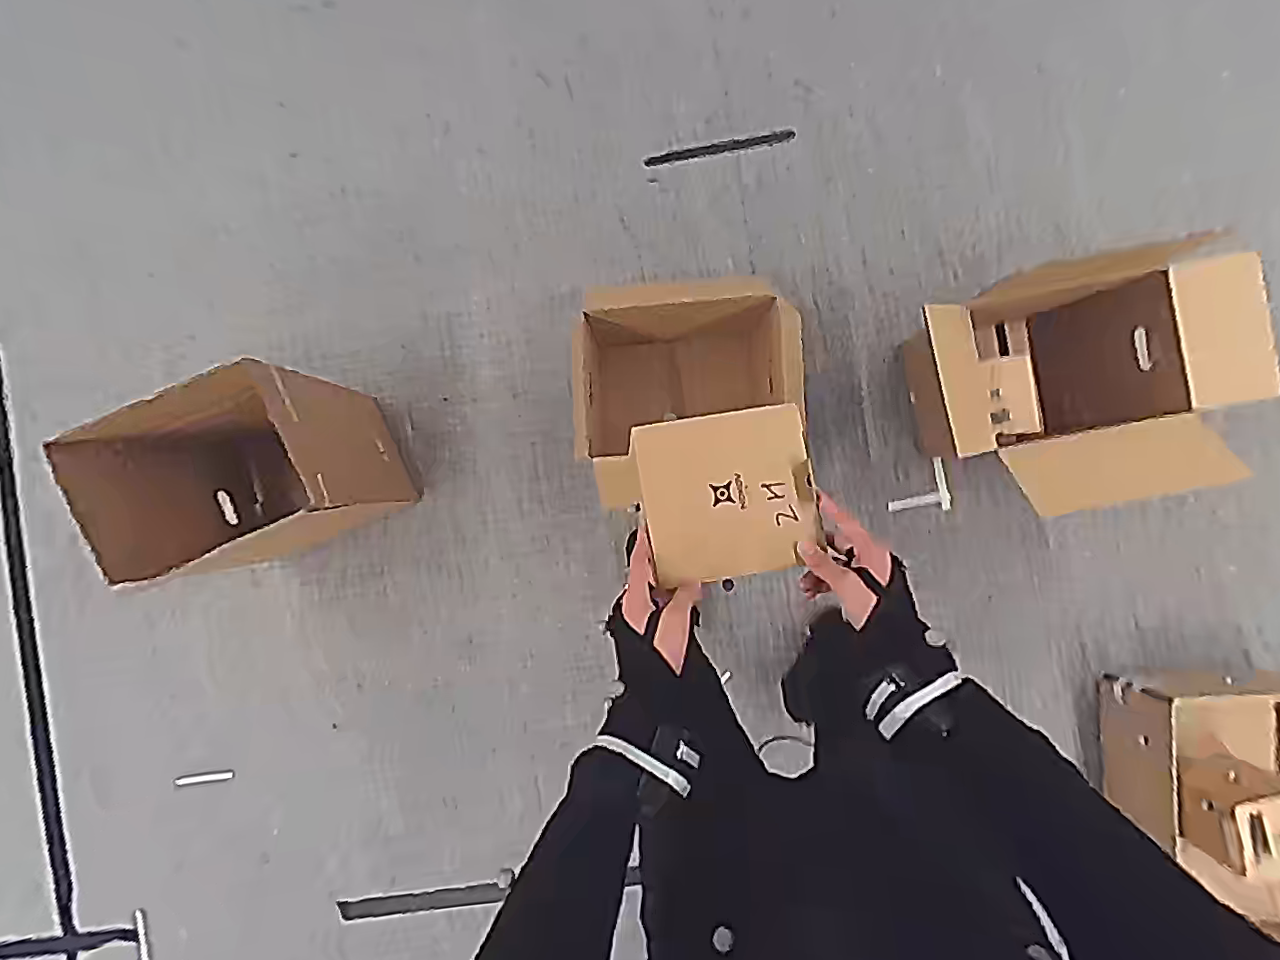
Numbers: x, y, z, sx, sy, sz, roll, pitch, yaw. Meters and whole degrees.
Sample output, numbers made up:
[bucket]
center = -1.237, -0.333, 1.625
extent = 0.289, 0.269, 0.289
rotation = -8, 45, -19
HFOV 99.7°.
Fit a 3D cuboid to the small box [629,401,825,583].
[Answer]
[small box]
center = 0.084, 0.021, 0.618
extent = 0.179, 0.176, 0.168
rotation = -9, 84, -3
